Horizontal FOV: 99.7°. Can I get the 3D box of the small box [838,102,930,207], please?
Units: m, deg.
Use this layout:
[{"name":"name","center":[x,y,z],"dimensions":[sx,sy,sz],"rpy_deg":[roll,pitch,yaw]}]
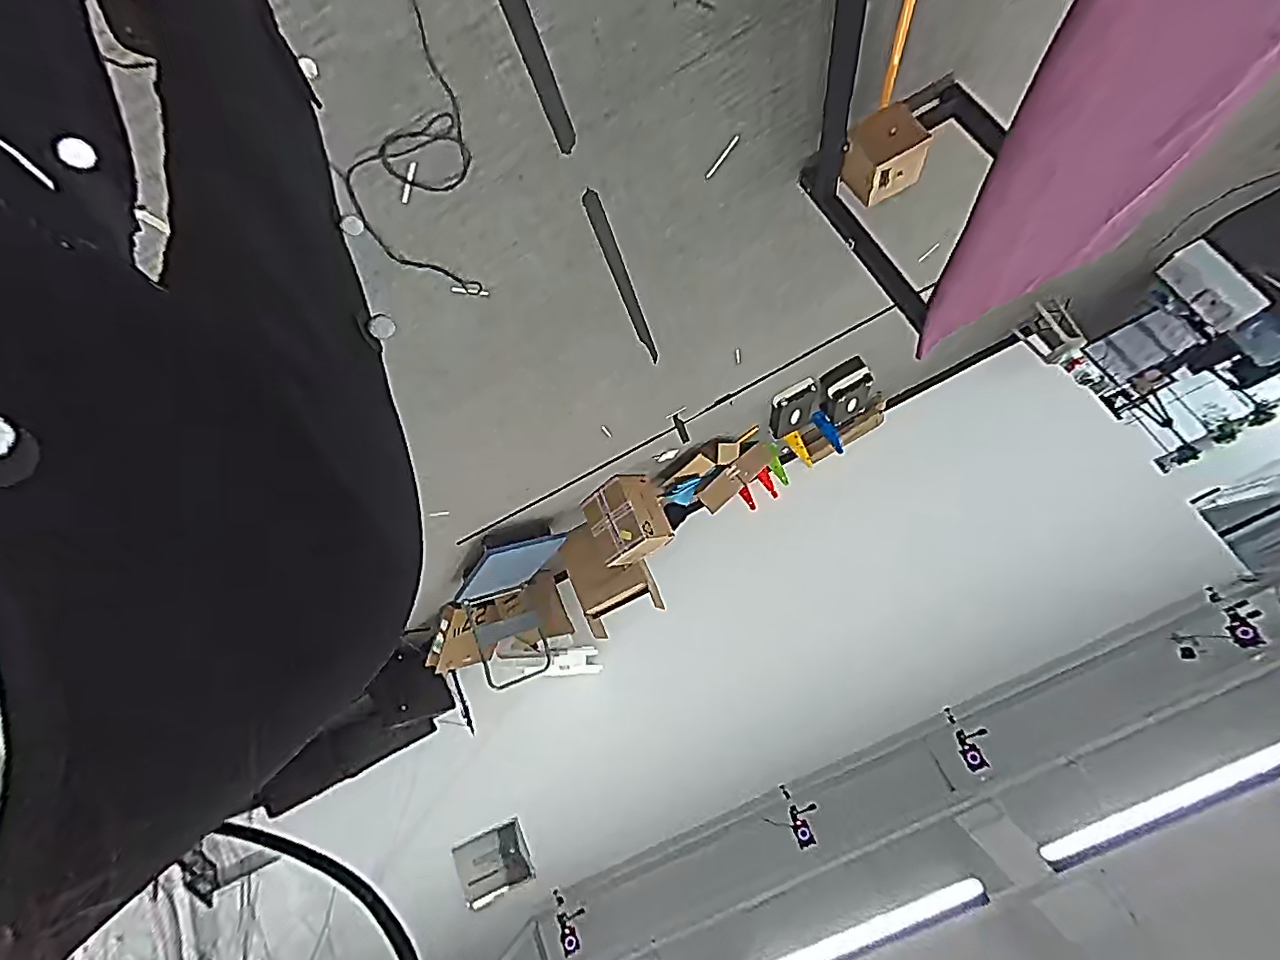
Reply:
[{"name":"small box","center":[0.720,-0.973,1.619],"dimensions":[0.179,0.176,0.168],"rpy_deg":[-28,161,4]}]
